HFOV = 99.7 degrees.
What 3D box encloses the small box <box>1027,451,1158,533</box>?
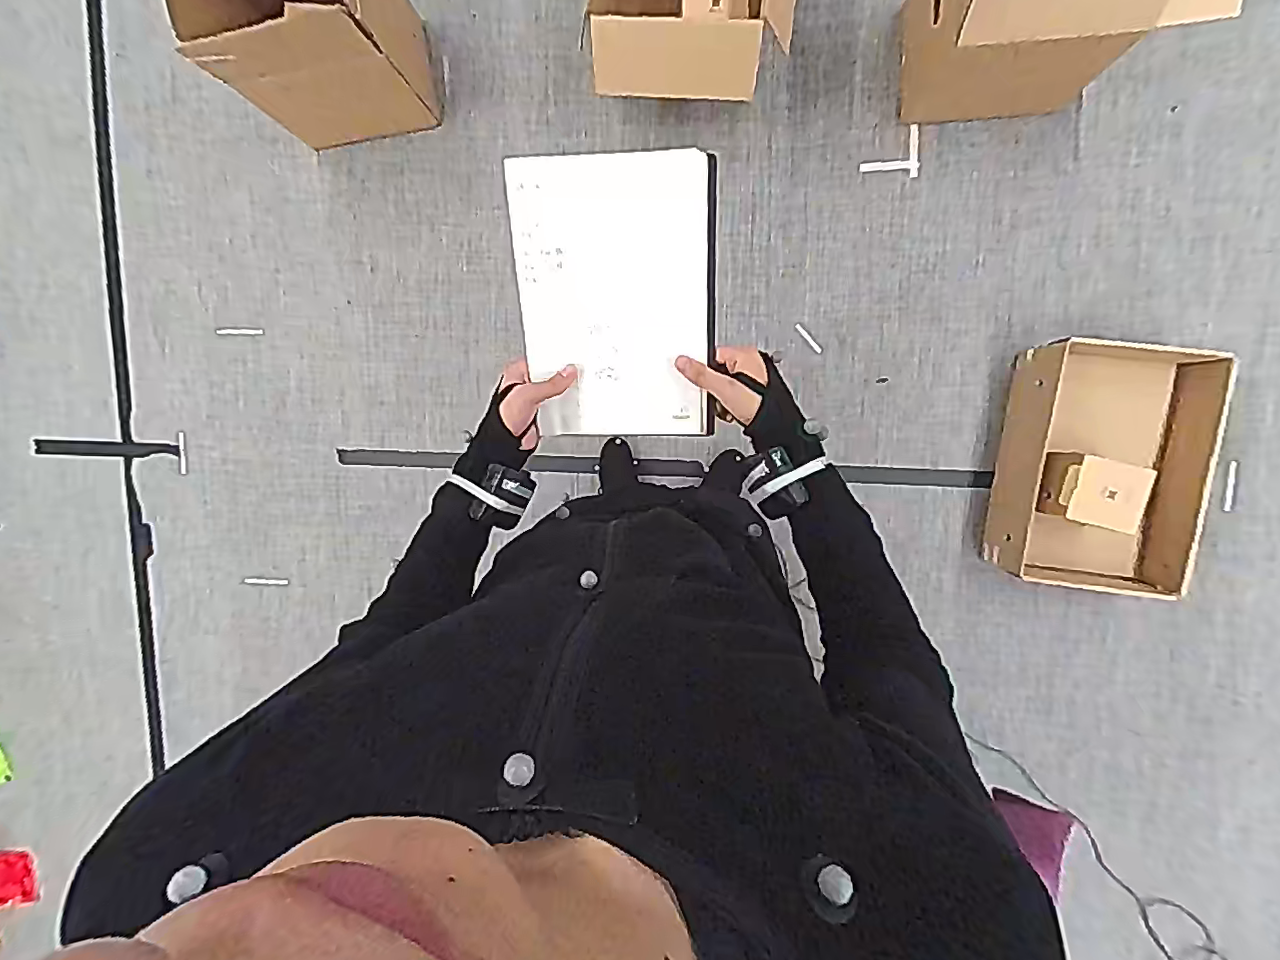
[{"bbox_3d":[1.152,0.025,1.393,0.179,0.176,0.168,15,96,4],"label":"small box"}]
